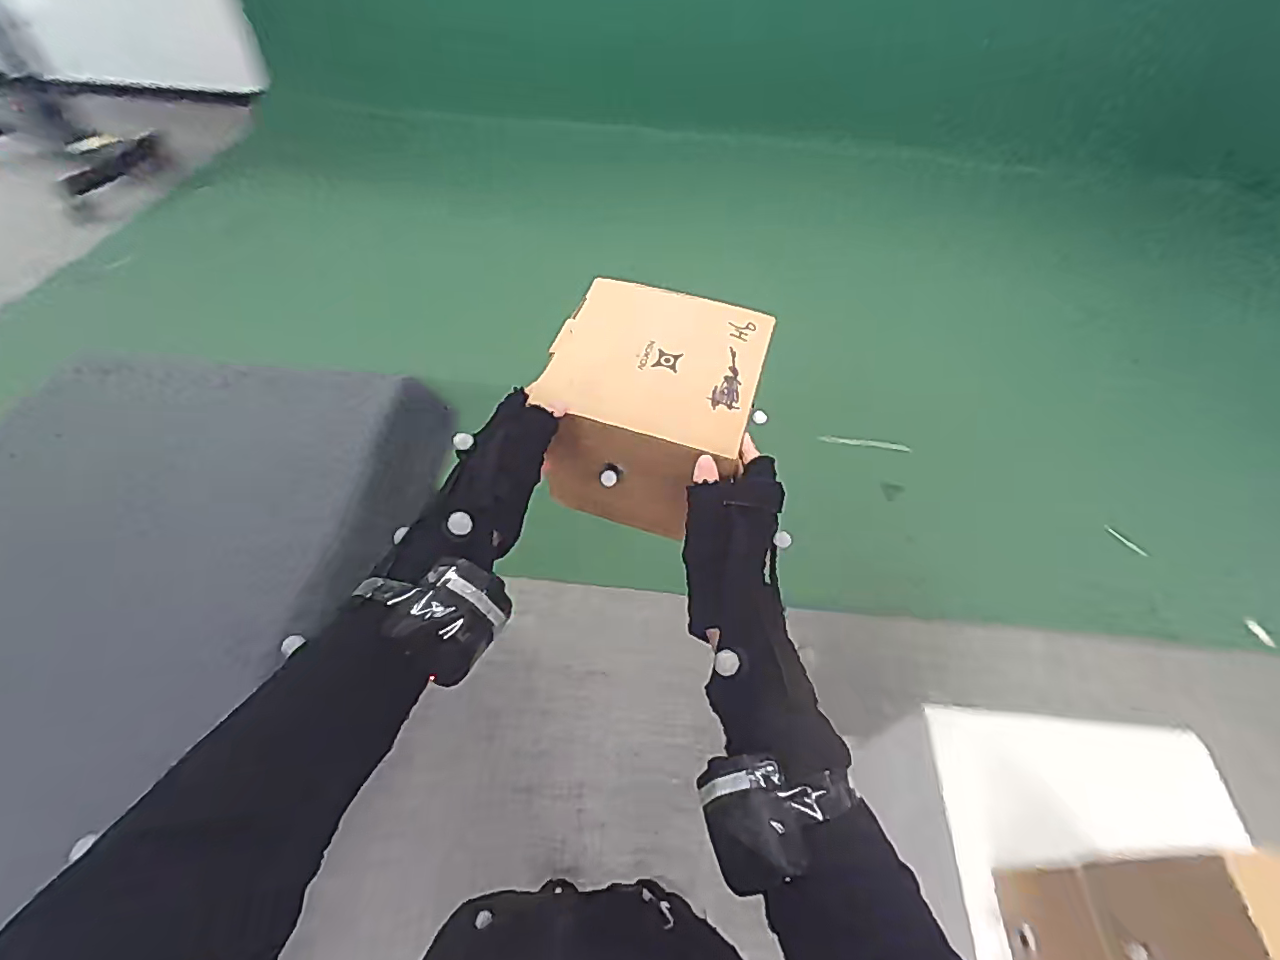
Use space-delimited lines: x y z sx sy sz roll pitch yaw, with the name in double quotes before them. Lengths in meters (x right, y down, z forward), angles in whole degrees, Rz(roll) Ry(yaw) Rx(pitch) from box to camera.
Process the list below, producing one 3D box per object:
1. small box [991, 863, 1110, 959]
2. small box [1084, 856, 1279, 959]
"small box" 0.515 0.508 0.561 0.179 0.176 0.168 4 52 2
"small box" 0.524 0.407 0.431 0.179 0.176 0.168 4 53 -1
